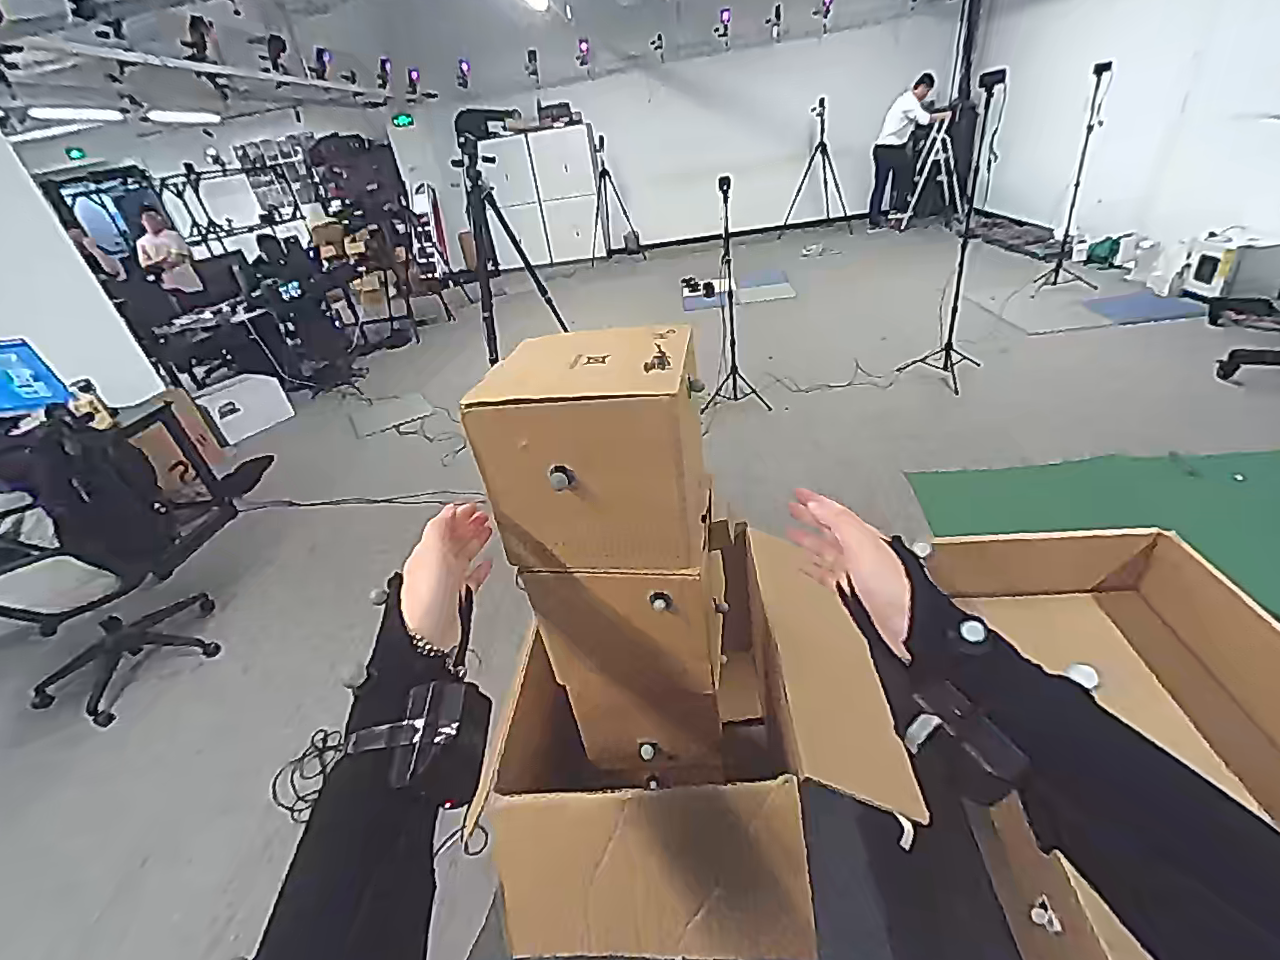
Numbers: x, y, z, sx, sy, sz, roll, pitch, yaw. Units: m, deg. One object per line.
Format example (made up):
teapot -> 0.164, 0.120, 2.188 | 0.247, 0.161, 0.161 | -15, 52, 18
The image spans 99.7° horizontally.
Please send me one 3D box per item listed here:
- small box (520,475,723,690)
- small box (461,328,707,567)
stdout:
small box -> -0.005, 0.109, 0.594 | 0.179, 0.176, 0.168 | -1, 33, 12
small box -> -0.034, -0.031, 0.512 | 0.179, 0.176, 0.168 | -2, 33, 11
